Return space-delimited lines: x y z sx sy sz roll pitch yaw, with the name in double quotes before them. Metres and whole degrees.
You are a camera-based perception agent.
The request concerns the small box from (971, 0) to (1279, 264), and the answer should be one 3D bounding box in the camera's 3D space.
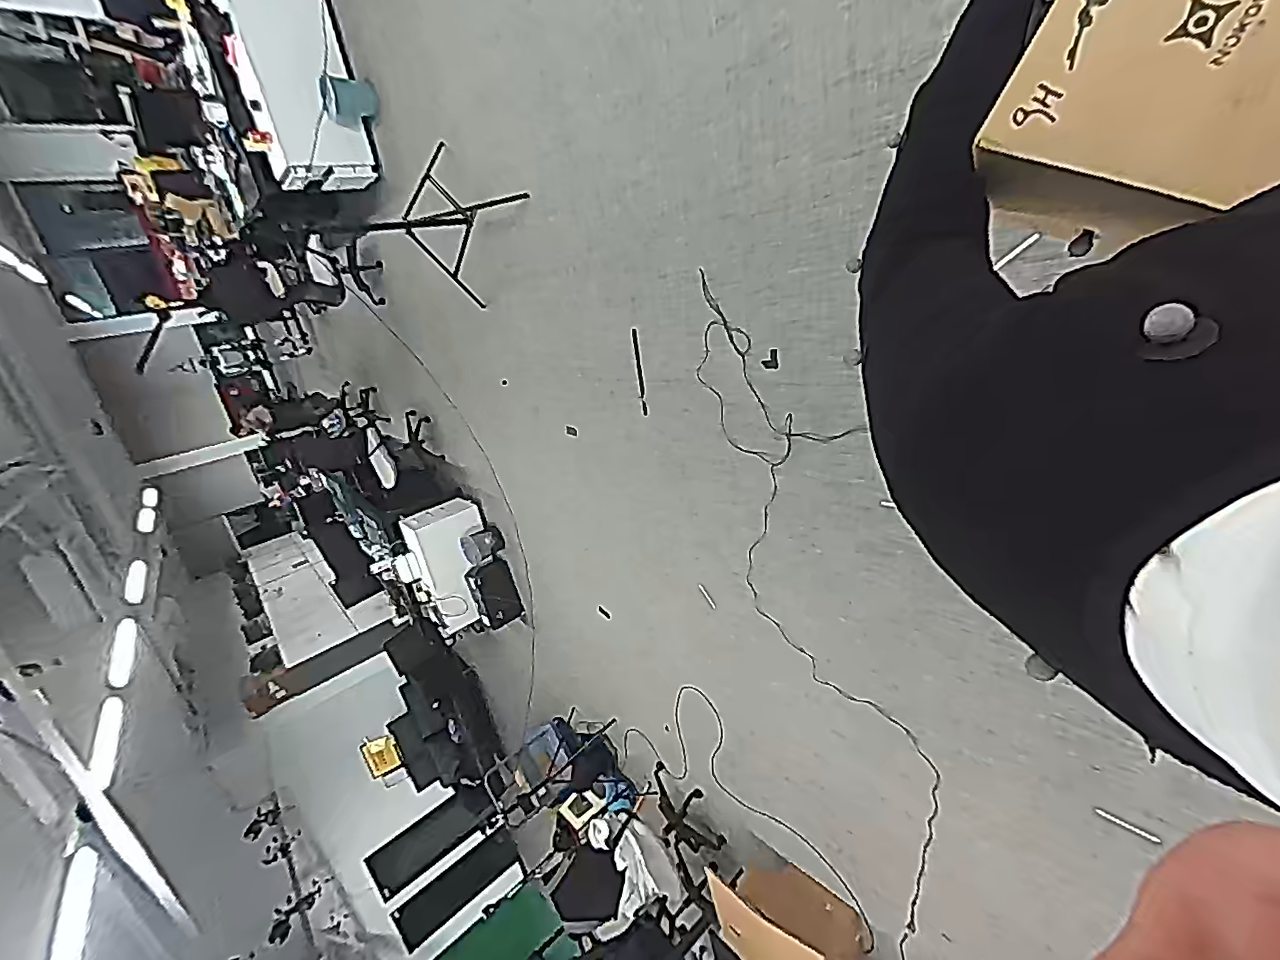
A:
"small box" 0.367 -0.266 0.373 0.179 0.176 0.168 35 115 25
